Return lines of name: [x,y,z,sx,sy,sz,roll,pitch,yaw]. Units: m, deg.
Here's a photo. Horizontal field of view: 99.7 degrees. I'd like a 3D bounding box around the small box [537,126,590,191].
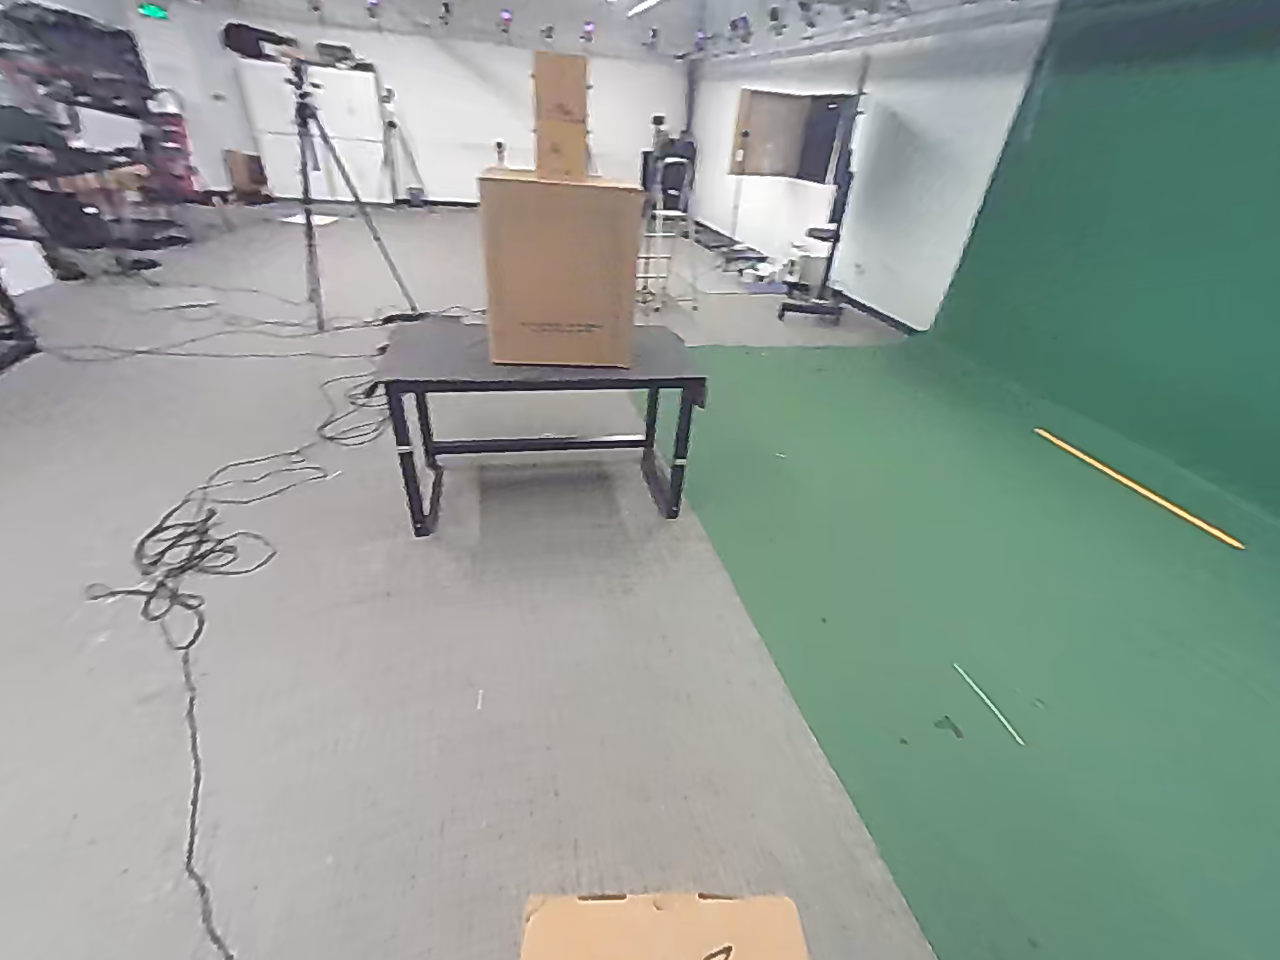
small box: [-0.249,-1.062,1.788,0.168,0.176,0.179,1,35,-7]
